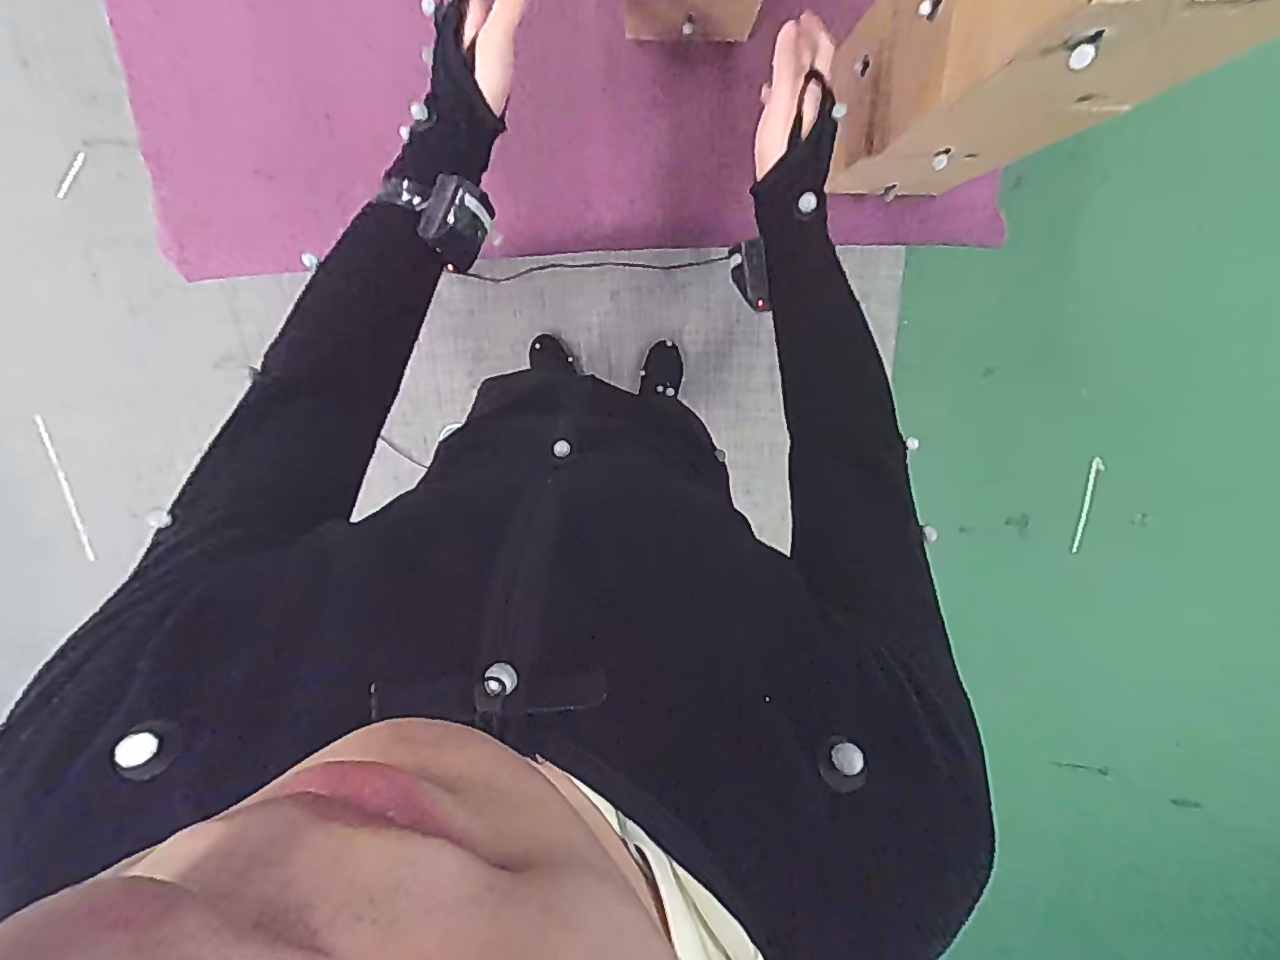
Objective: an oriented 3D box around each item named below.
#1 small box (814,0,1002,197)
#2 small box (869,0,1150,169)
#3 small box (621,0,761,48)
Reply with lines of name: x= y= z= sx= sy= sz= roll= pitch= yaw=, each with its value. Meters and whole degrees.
small box: x=0.341 y=-0.468 z=0.685 sx=0.179 sy=0.176 sz=0.168 roll=1 pitch=106 yaw=-1
small box: x=0.343 y=-0.427 z=0.527 sx=0.168 sy=0.176 sz=0.179 roll=2 pitch=106 yaw=1
small box: x=0.062 y=-0.650 z=0.629 sx=0.168 sy=0.176 sz=0.179 roll=2 pitch=107 yaw=-1
